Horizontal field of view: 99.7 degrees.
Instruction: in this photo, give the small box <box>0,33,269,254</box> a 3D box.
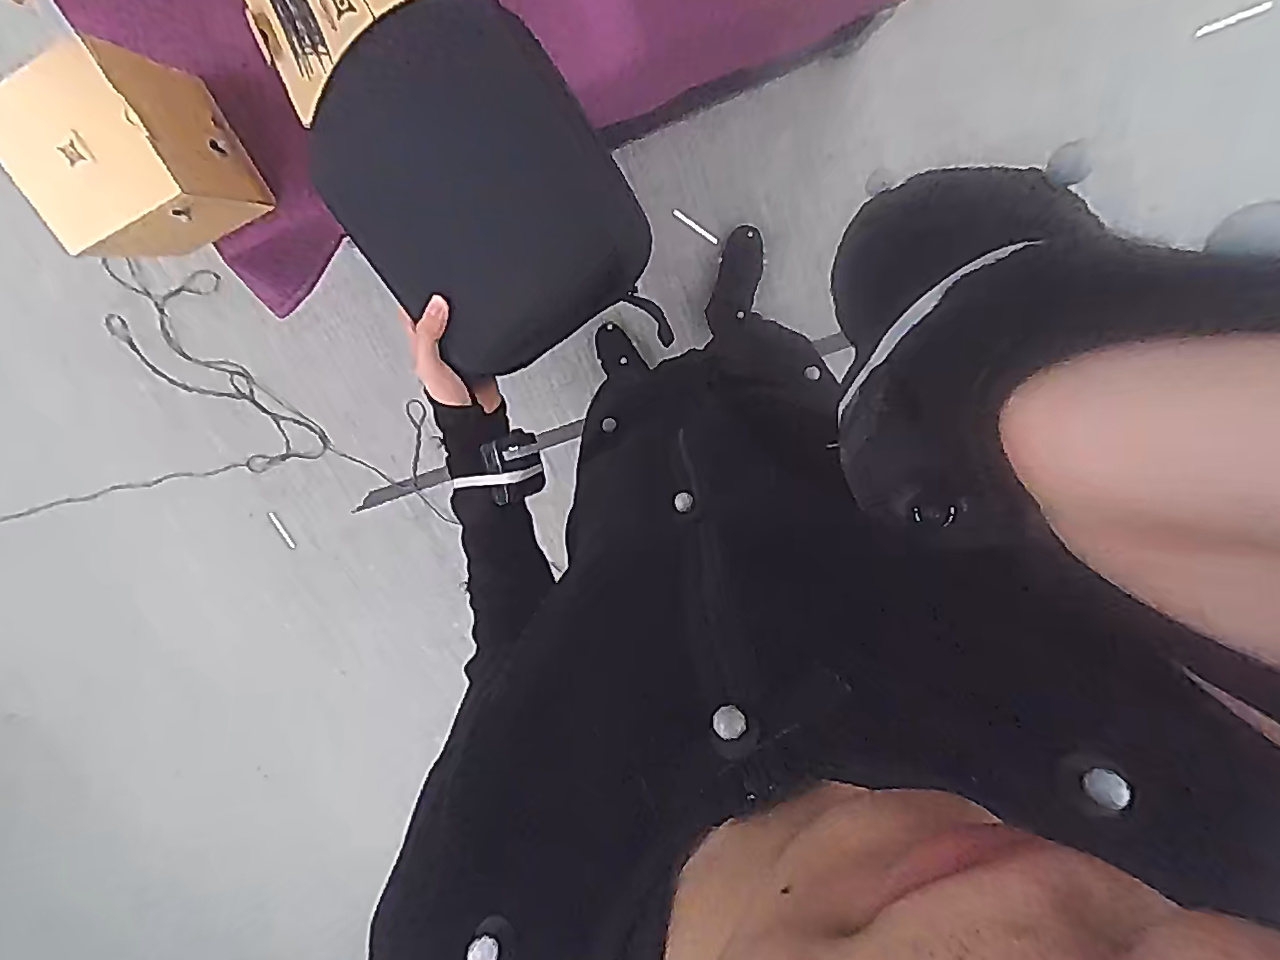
[{"bbox_3d":[-0.626,-0.395,0.676,0.179,0.176,0.168,-22,110,9],"label":"small box"}]
